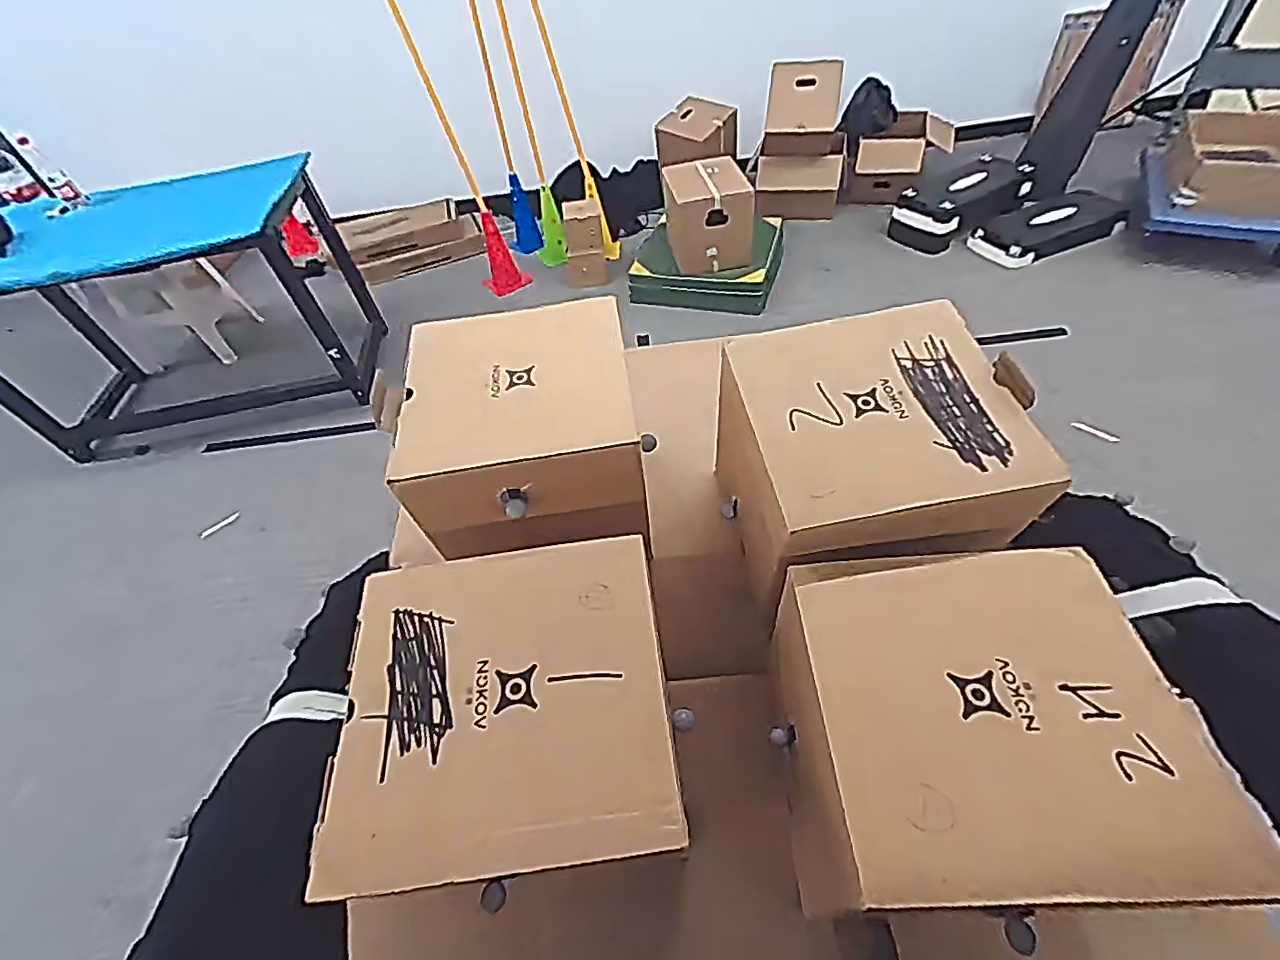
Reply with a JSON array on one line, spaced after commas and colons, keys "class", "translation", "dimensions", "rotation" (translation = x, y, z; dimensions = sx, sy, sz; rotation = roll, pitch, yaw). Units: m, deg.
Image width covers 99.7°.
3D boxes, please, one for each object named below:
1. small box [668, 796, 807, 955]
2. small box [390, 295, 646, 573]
[{"class": "small box", "translation": [0.172, 0.744, 1.020], "dimensions": [0.168, 0.176, 0.179], "rotation": [-13, 49, -27]}, {"class": "small box", "translation": [-0.091, -0.034, 0.484], "dimensions": [0.179, 0.176, 0.168], "rotation": [-10, 54, 0]}]
